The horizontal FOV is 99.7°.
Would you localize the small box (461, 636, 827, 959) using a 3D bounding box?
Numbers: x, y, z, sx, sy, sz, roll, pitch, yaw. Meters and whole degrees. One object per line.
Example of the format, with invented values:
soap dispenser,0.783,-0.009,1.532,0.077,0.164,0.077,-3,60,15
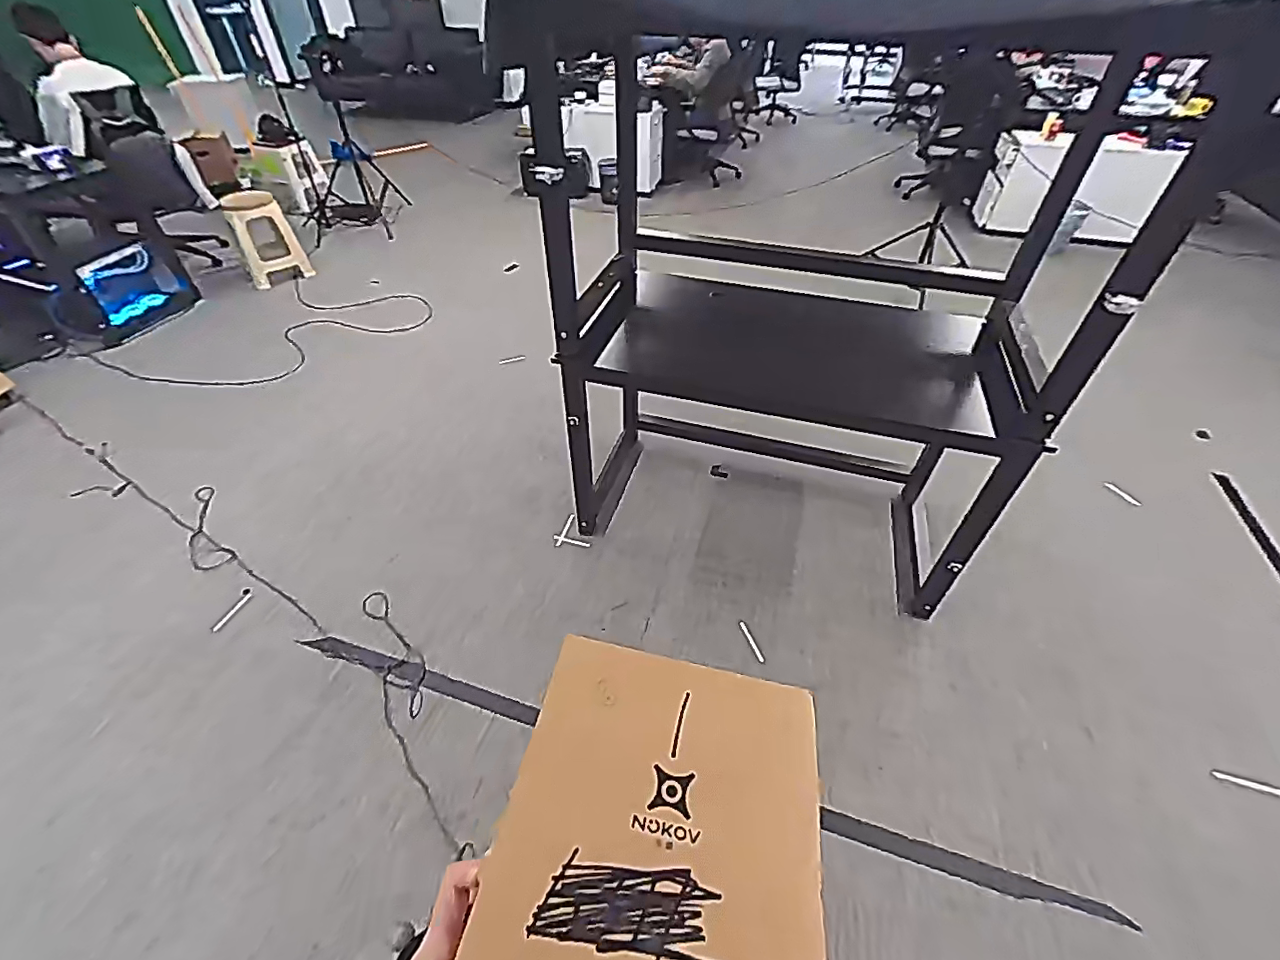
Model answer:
small box,0.009,0.234,0.343,0.168,0.176,0.179,12,42,5
